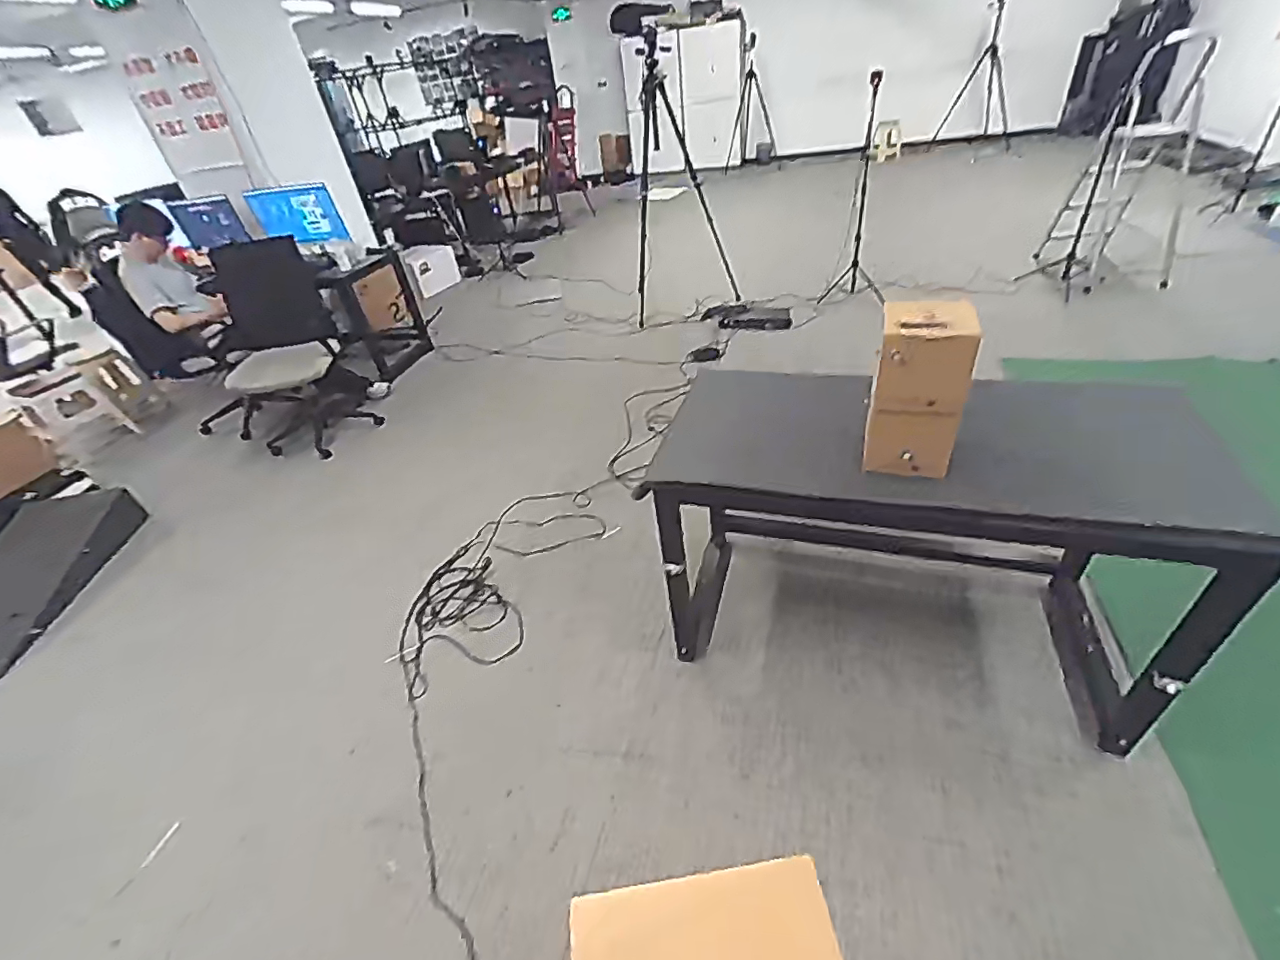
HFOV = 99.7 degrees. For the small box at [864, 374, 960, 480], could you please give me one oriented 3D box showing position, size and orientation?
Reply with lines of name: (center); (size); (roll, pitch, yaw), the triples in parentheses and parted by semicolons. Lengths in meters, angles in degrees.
small box: (0.603, -0.123, 1.215); (0.168, 0.176, 0.179); (6, 38, 20)
